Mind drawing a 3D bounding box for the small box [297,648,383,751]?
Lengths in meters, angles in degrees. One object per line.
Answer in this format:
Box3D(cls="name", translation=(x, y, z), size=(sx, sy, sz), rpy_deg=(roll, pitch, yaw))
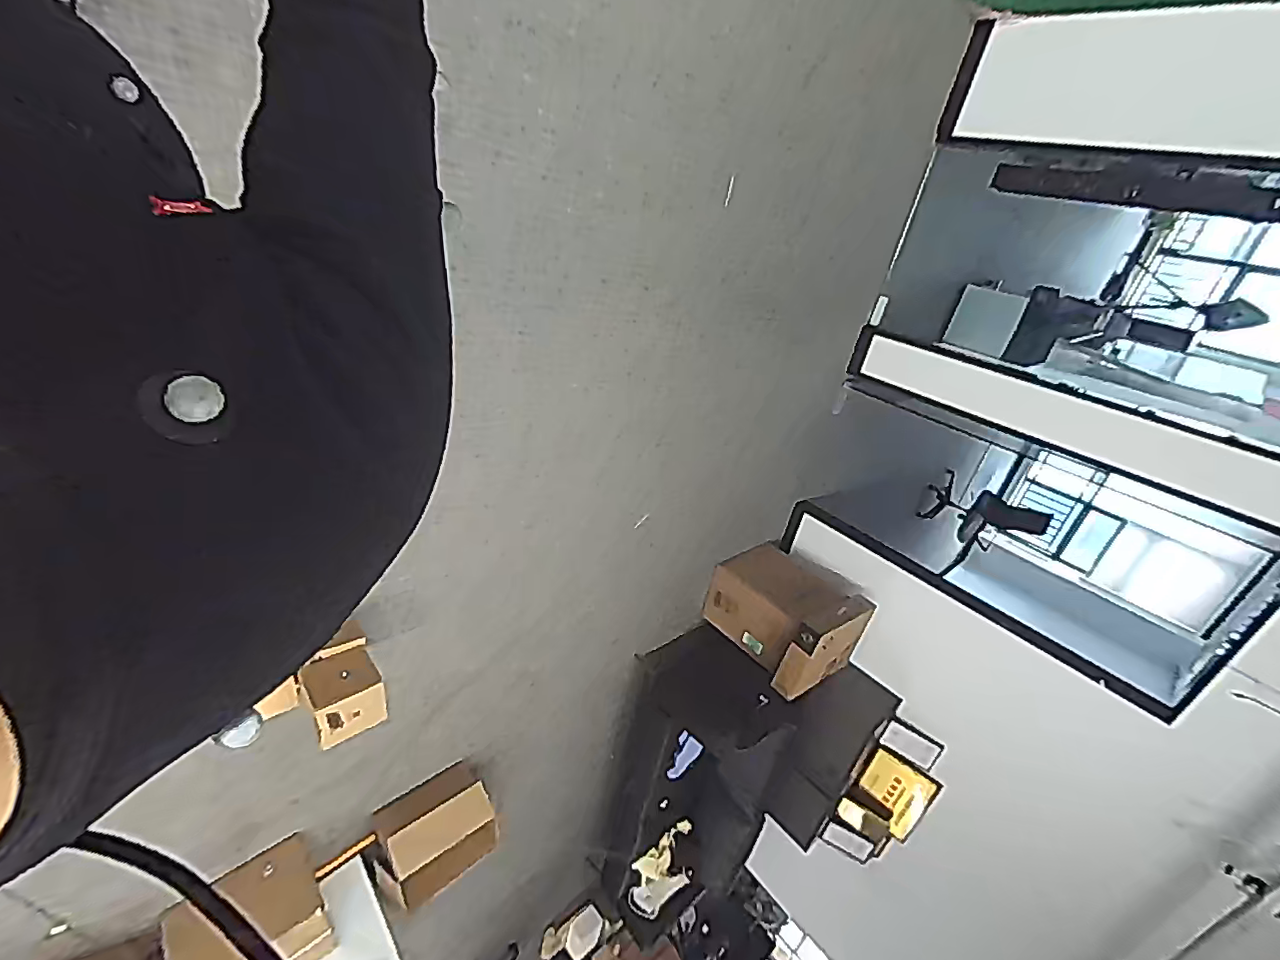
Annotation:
Box3D(cls="small box", translation=(-0.854, 0.615, 1.536), size=(0.179, 0.176, 0.168), rpy_deg=(-17, 129, -41))
